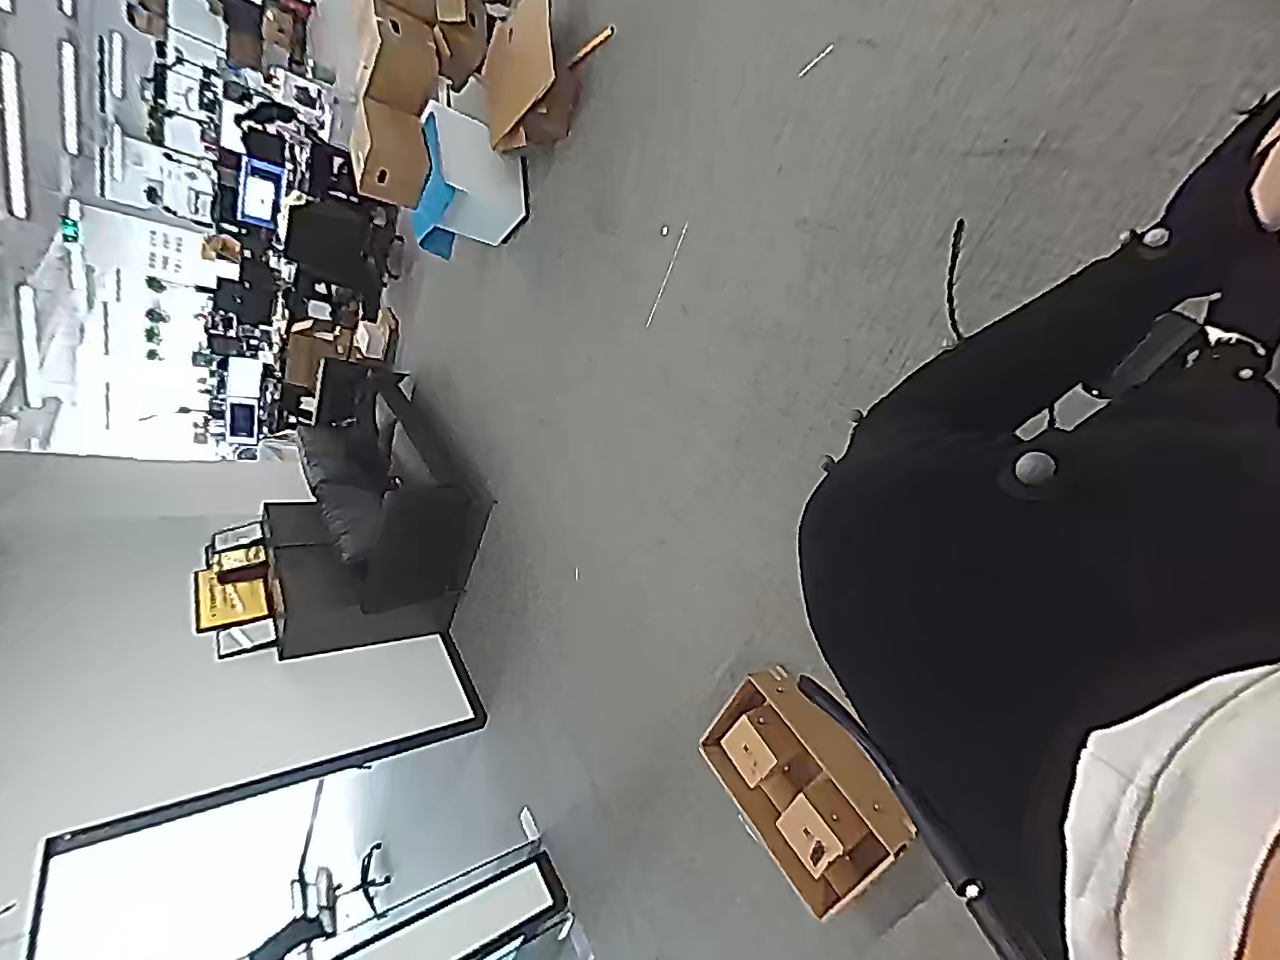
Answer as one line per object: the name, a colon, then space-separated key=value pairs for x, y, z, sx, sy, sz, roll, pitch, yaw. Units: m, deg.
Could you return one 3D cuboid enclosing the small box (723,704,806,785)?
small box: x=0.424 y=0.886 z=1.834 sx=0.179 sy=0.176 sz=0.168 roll=51 pitch=125 yaw=36
